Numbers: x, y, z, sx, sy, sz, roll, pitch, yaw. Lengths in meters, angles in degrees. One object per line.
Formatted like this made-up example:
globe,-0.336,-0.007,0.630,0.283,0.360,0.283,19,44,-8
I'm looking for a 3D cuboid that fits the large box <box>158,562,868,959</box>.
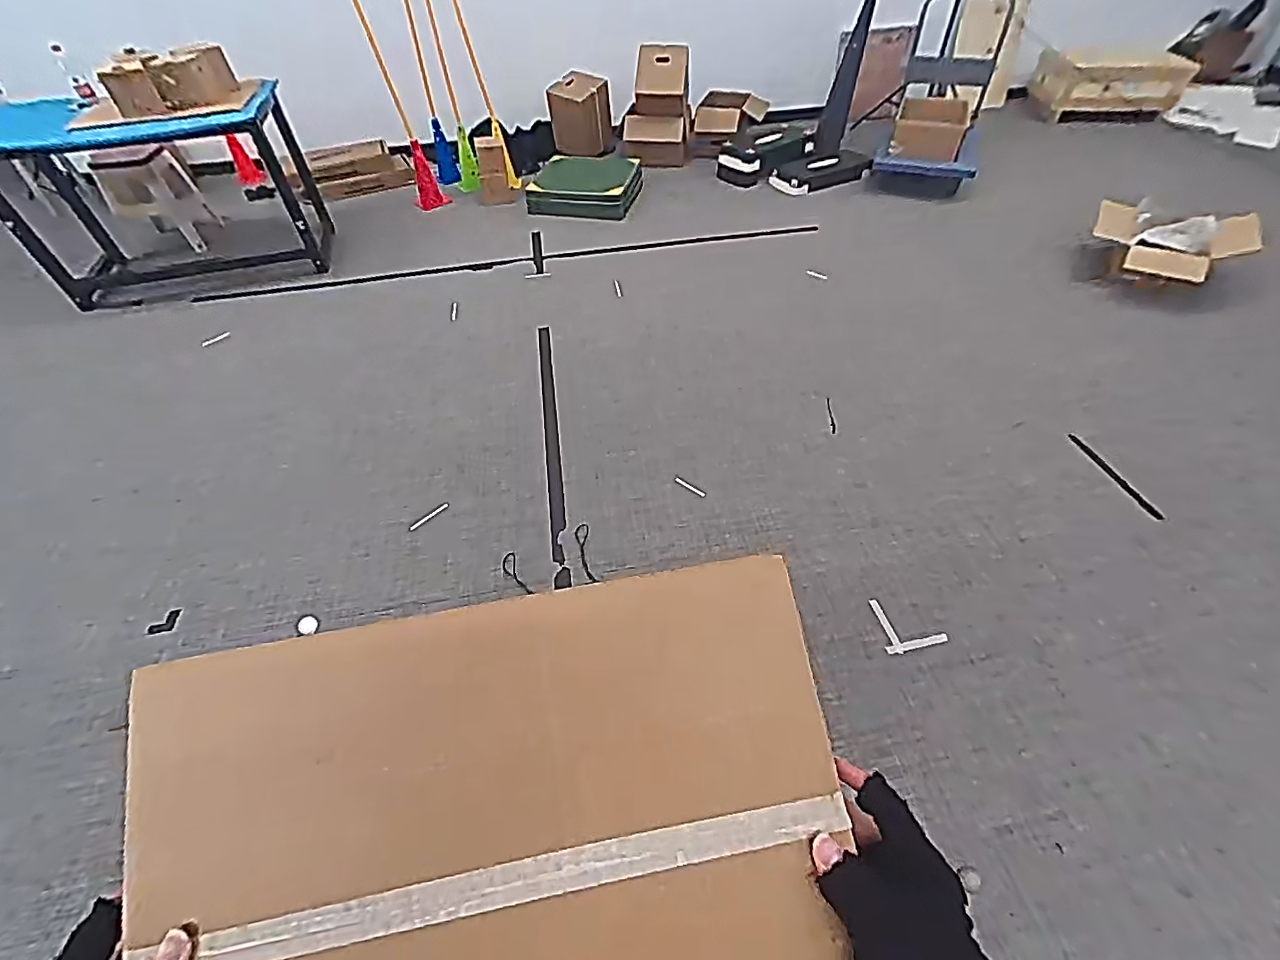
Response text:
large box,-0.083,0.272,0.462,0.408,0.320,0.320,-9,77,-4
